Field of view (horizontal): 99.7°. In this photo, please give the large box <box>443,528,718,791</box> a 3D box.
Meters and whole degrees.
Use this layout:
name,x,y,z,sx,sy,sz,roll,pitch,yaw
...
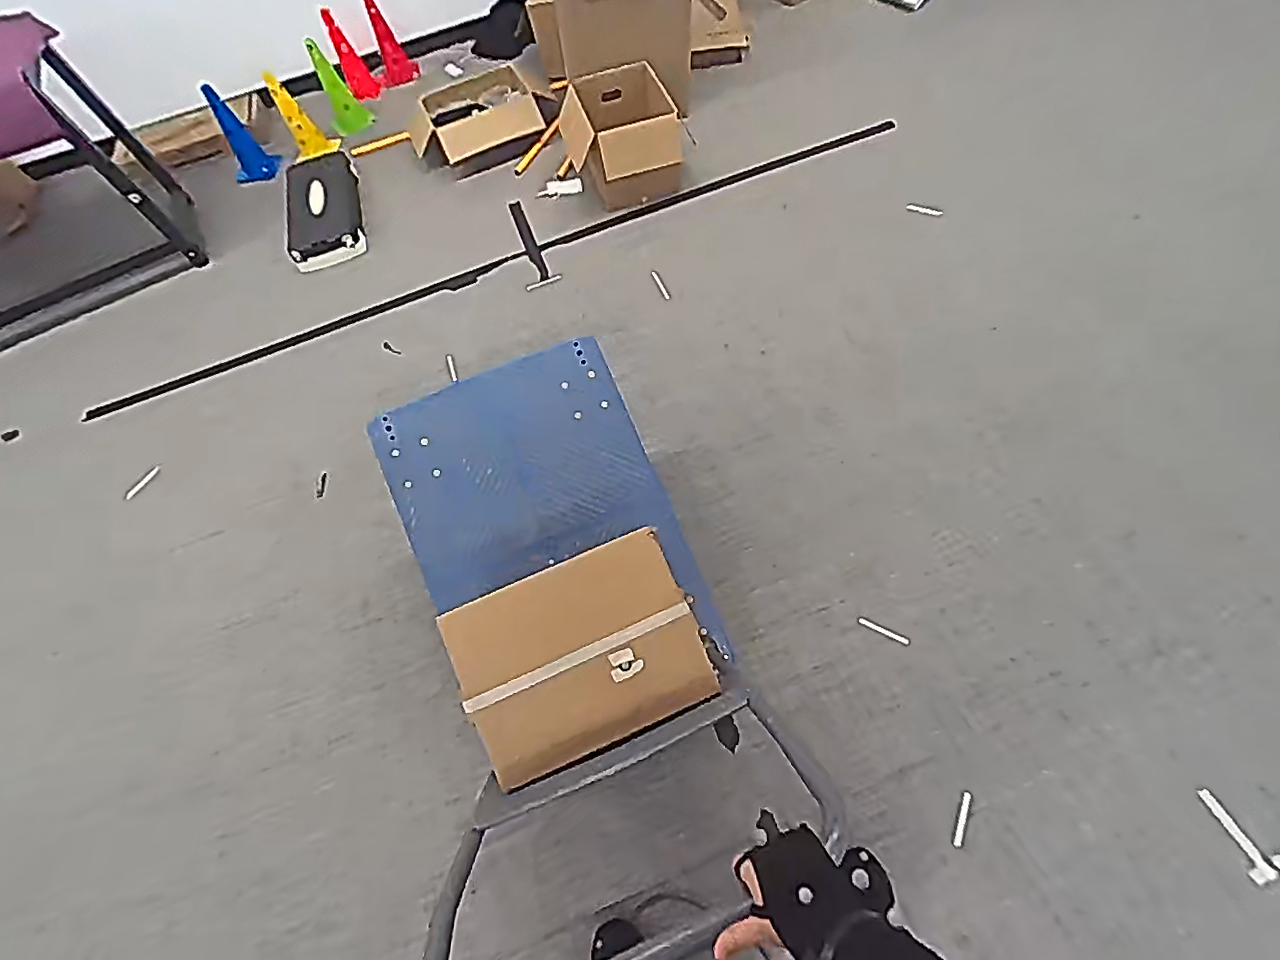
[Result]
name,x,y,z,sx,sy,sz,roll,pitch,yaw
large box,-0.113,0.328,1.089,0.408,0.320,0.320,-24,85,-7
